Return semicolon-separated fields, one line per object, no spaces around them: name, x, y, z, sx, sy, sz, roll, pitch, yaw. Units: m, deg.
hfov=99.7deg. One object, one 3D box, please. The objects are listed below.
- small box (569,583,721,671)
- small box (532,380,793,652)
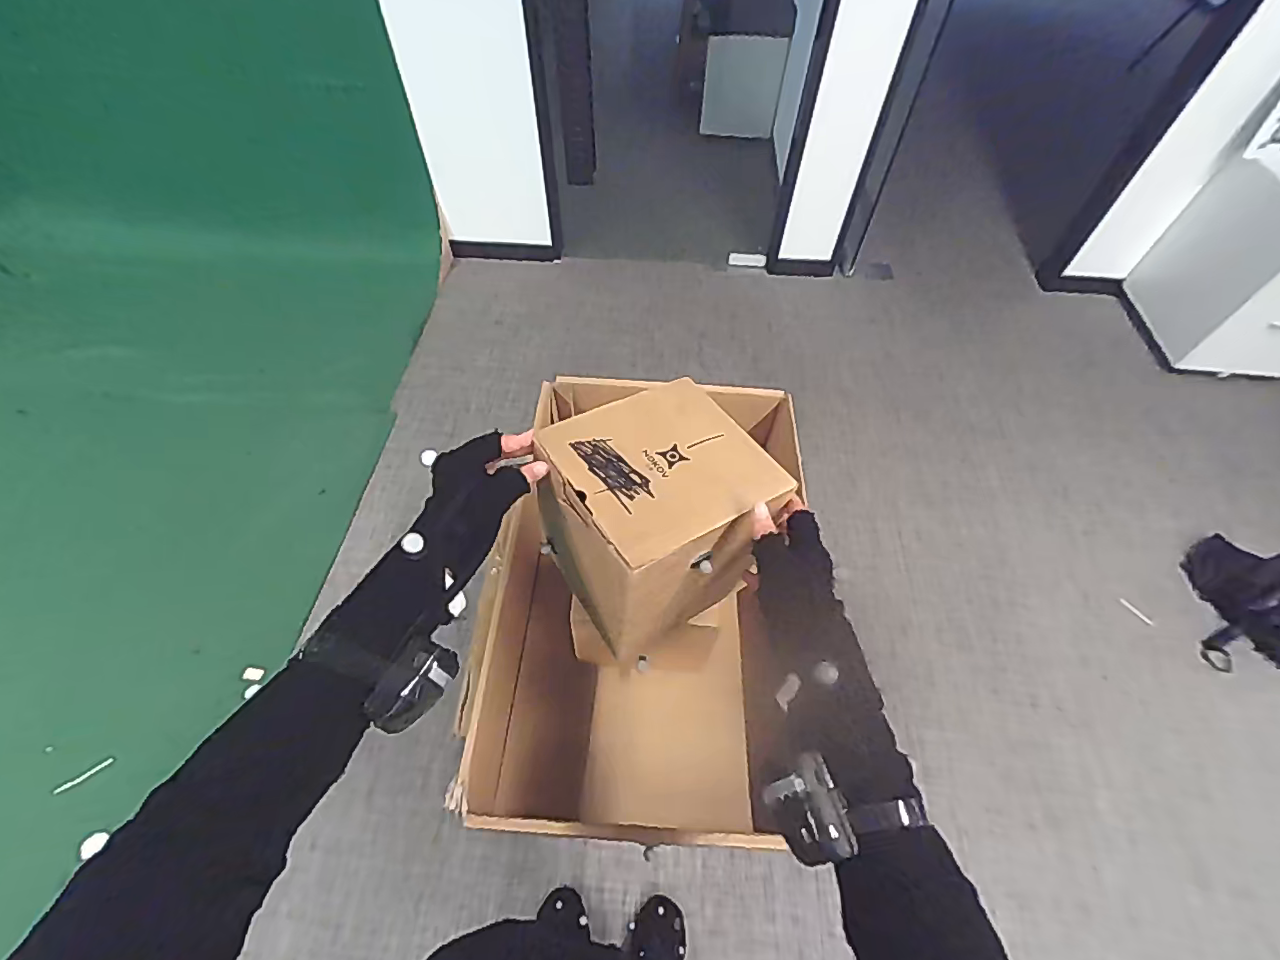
small box;0.006;0.147;0.726;0.179;0.176;0.168;4;53;0
small box;0.013;0.036;0.529;0.179;0.176;0.168;-24;56;-25
